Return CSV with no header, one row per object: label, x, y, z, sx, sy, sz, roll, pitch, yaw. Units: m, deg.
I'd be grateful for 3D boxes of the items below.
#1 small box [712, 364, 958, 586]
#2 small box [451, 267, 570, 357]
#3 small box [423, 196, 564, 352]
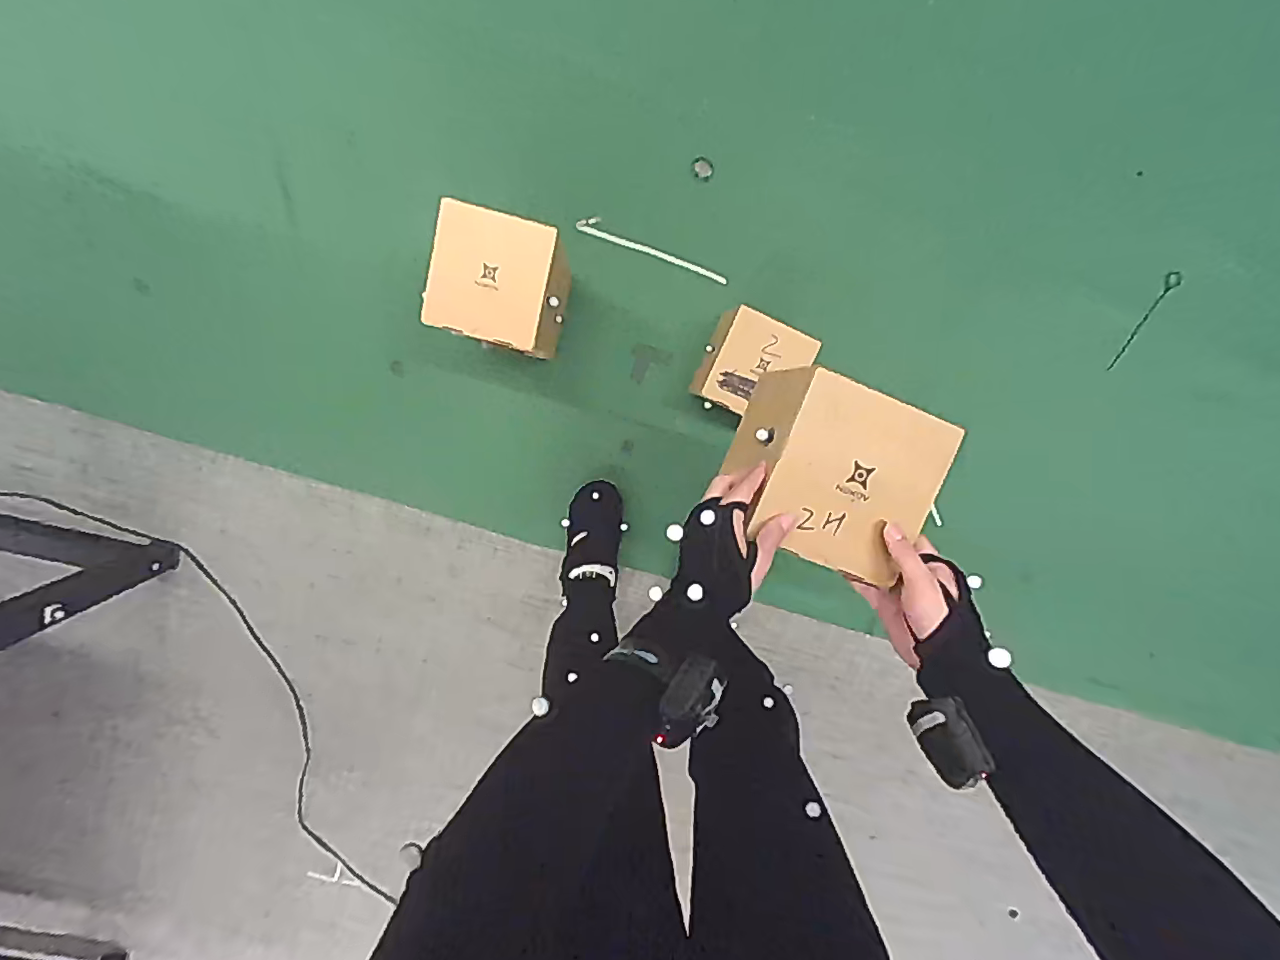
small box,0.197,-0.014,0.602,0.168,0.176,0.179,22,97,-9
small box,-0.231,-0.335,1.007,0.168,0.176,0.179,15,100,-6
small box,-0.218,-0.308,0.847,0.168,0.176,0.179,14,102,-6
